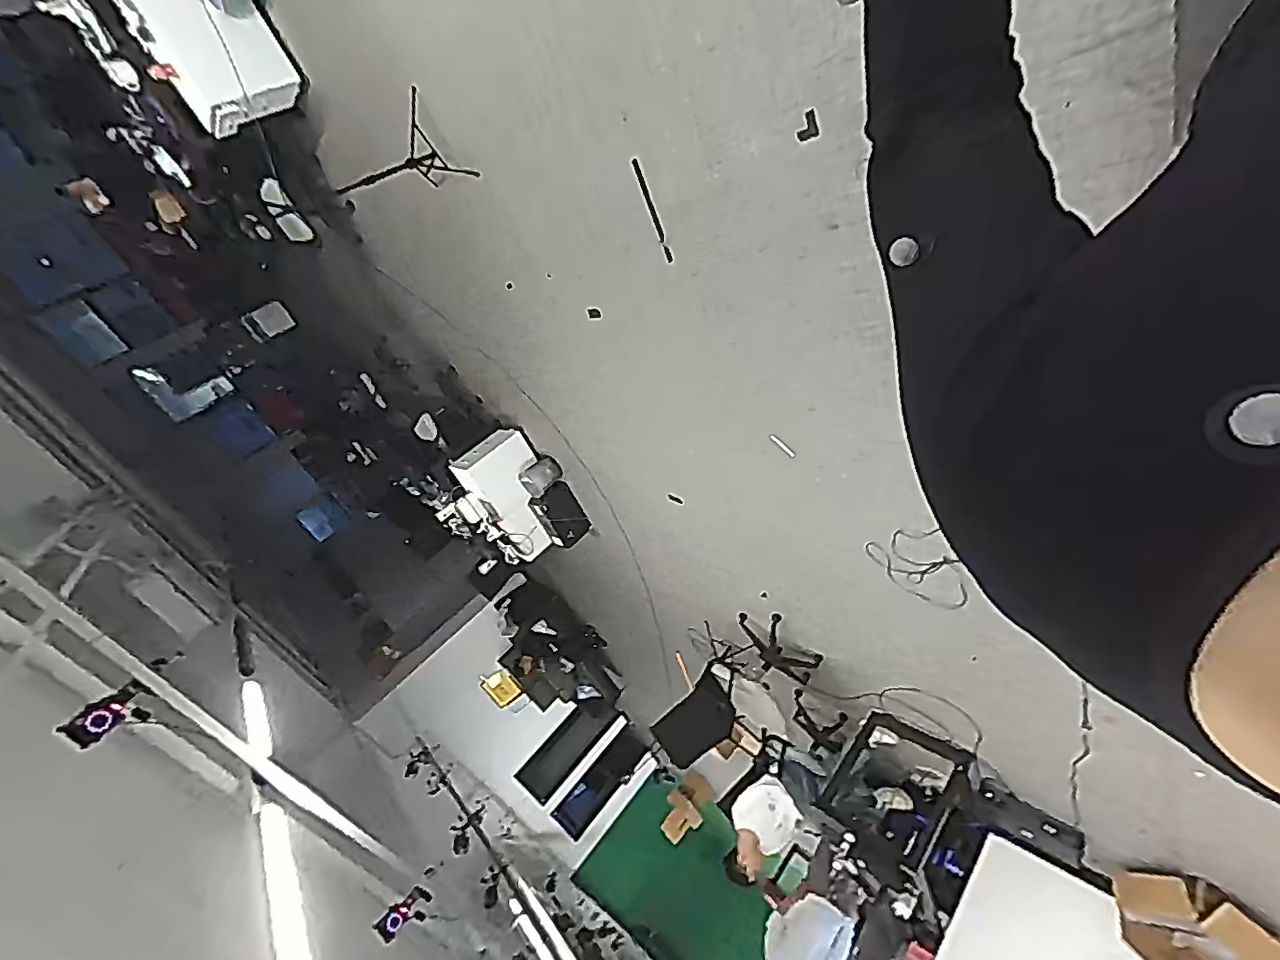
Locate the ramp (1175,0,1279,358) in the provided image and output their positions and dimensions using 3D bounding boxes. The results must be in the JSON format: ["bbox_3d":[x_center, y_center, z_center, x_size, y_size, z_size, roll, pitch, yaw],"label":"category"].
[{"bbox_3d":[1.201,-0.604,0.867,0.509,0.206,0.991,8,134,51],"label":"ramp"}]
